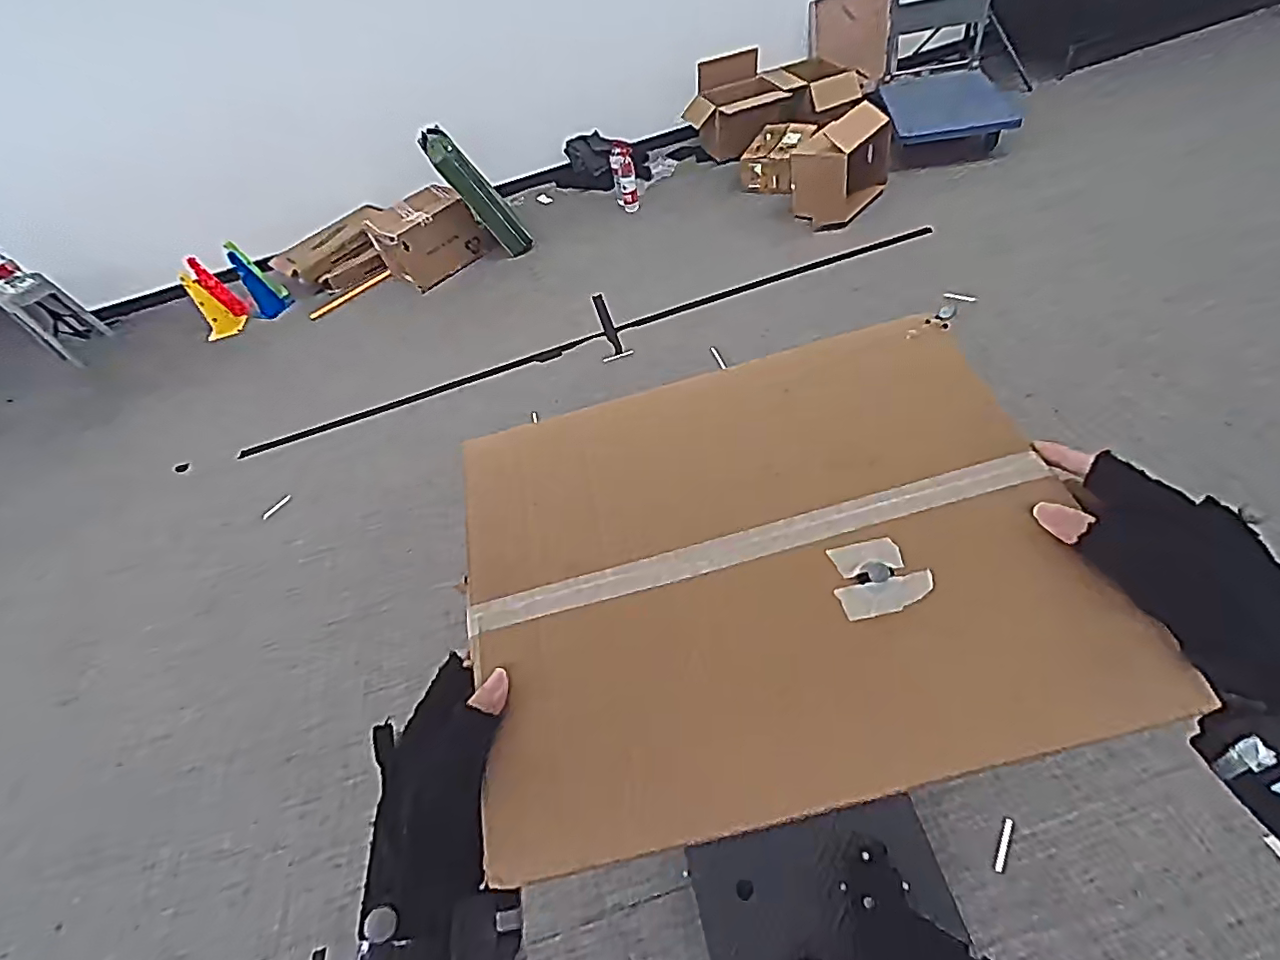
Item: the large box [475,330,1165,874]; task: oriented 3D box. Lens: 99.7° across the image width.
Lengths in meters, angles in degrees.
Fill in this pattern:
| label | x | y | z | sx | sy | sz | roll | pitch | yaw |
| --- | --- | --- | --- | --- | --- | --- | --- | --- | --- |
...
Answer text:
| label | x | y | z | sx | sy | sz | roll | pitch | yaw |
| --- | --- | --- | --- | --- | --- | --- | --- | --- | --- |
| large box | 0.102 | 0.125 | 0.516 | 0.408 | 0.320 | 0.320 | -16 | 59 | 2 |
